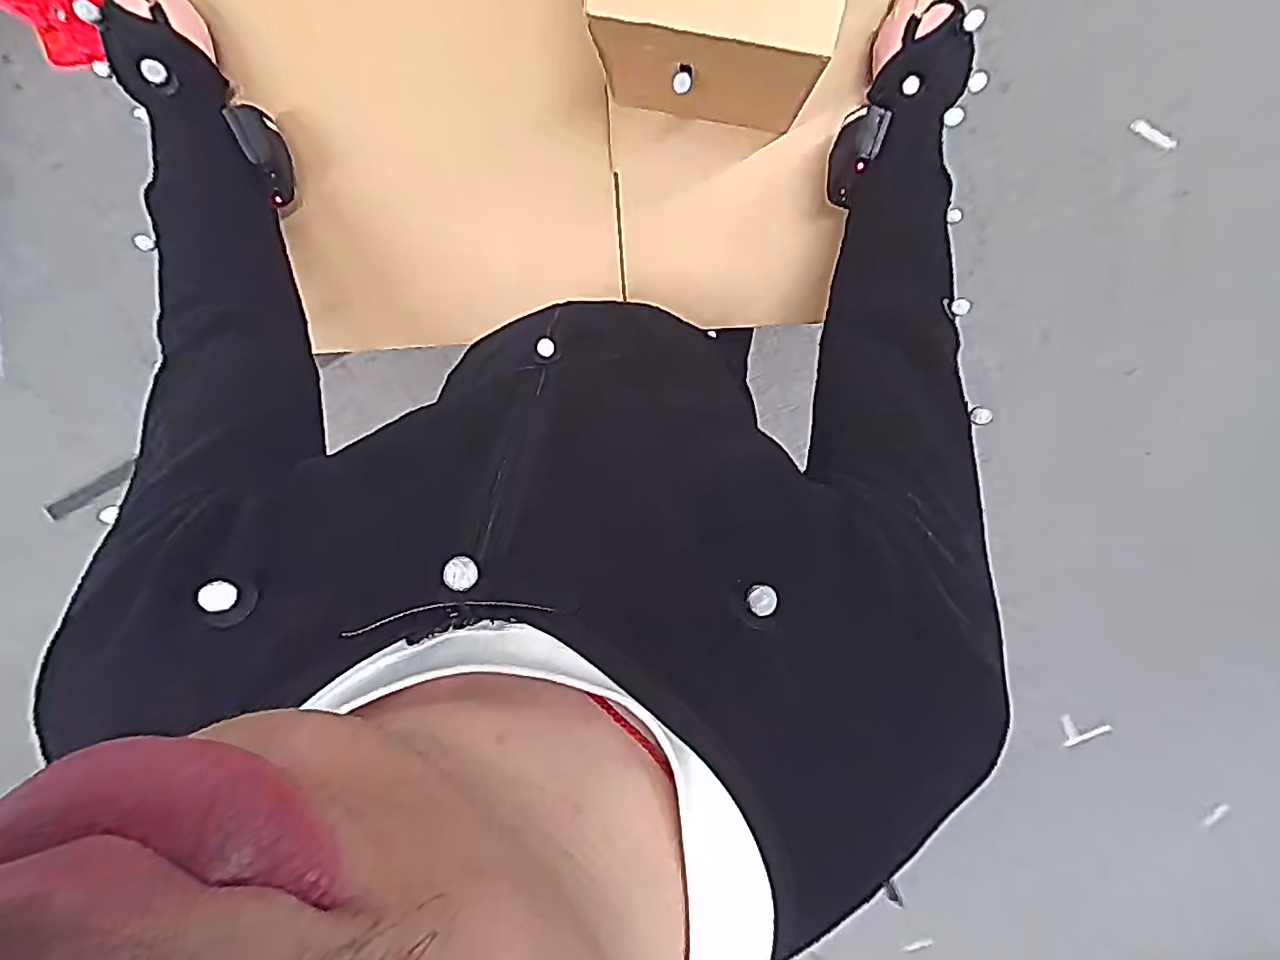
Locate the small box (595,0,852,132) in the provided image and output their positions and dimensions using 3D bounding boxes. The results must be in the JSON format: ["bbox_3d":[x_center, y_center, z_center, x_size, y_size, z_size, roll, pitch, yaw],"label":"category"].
[{"bbox_3d":[0.075,-0.405,0.430,0.179,0.176,0.168,12,108,2],"label":"small box"}]
